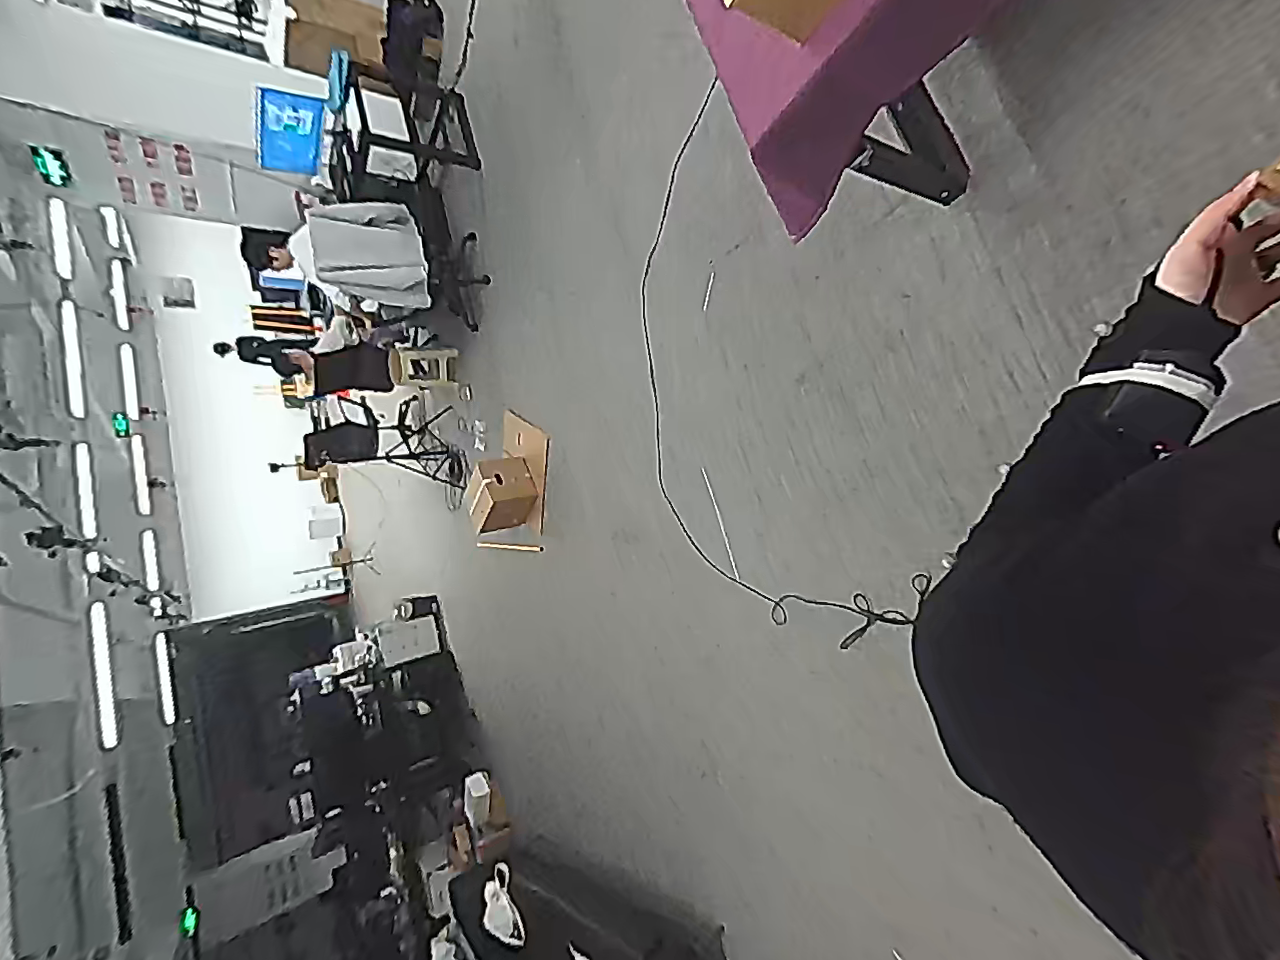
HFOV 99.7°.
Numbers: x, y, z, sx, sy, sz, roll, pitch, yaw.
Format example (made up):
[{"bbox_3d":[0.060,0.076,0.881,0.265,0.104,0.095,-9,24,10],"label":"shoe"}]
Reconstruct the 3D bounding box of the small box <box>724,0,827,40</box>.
[{"bbox_3d":[0.213,-0.799,0.781,0.179,0.176,0.168,-32,71,50],"label":"small box"}]
